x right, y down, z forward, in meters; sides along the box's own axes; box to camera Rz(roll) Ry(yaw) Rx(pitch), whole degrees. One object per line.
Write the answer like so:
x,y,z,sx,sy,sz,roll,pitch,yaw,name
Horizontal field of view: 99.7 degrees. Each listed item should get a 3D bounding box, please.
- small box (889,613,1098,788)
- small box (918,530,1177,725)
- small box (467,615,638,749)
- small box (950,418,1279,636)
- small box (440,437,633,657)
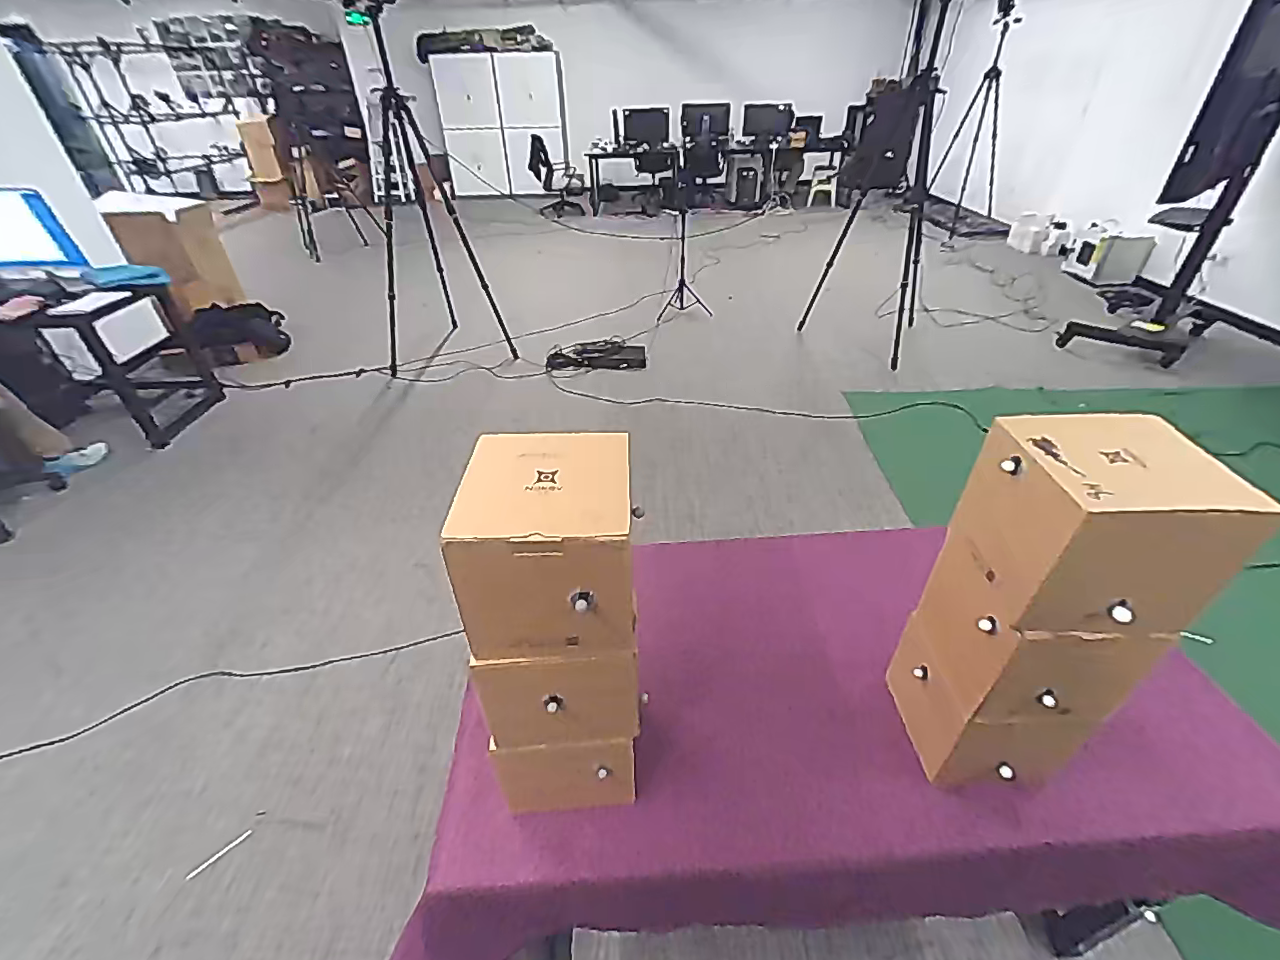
0.482,0.312,0.776,0.168,0.176,0.179,-2,37,1,small box
0.481,0.181,0.679,0.168,0.176,0.179,-1,37,1,small box
-0.095,0.206,0.664,0.179,0.176,0.168,-4,36,-3,small box
0.476,0.050,0.579,0.179,0.176,0.168,1,37,2,small box
-0.091,0.070,0.574,0.168,0.176,0.179,0,36,-1,small box
